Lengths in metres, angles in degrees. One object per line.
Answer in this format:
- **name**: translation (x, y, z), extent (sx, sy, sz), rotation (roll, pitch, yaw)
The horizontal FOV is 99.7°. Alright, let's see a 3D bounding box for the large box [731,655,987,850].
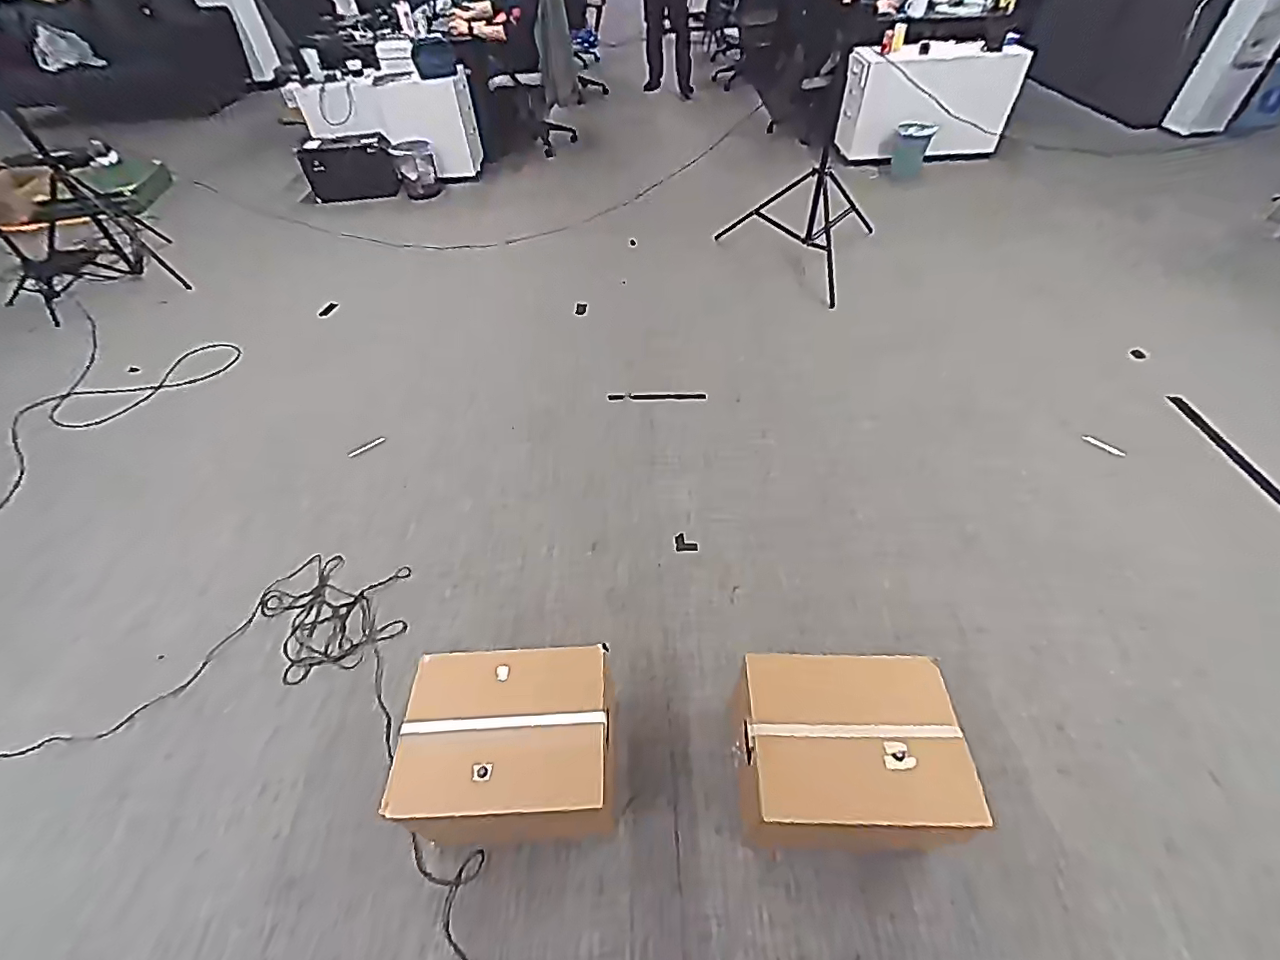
- **large box**: translation (0.427, 0.594, 1.174), extent (0.408, 0.320, 0.320), rotation (1, 48, 2)
